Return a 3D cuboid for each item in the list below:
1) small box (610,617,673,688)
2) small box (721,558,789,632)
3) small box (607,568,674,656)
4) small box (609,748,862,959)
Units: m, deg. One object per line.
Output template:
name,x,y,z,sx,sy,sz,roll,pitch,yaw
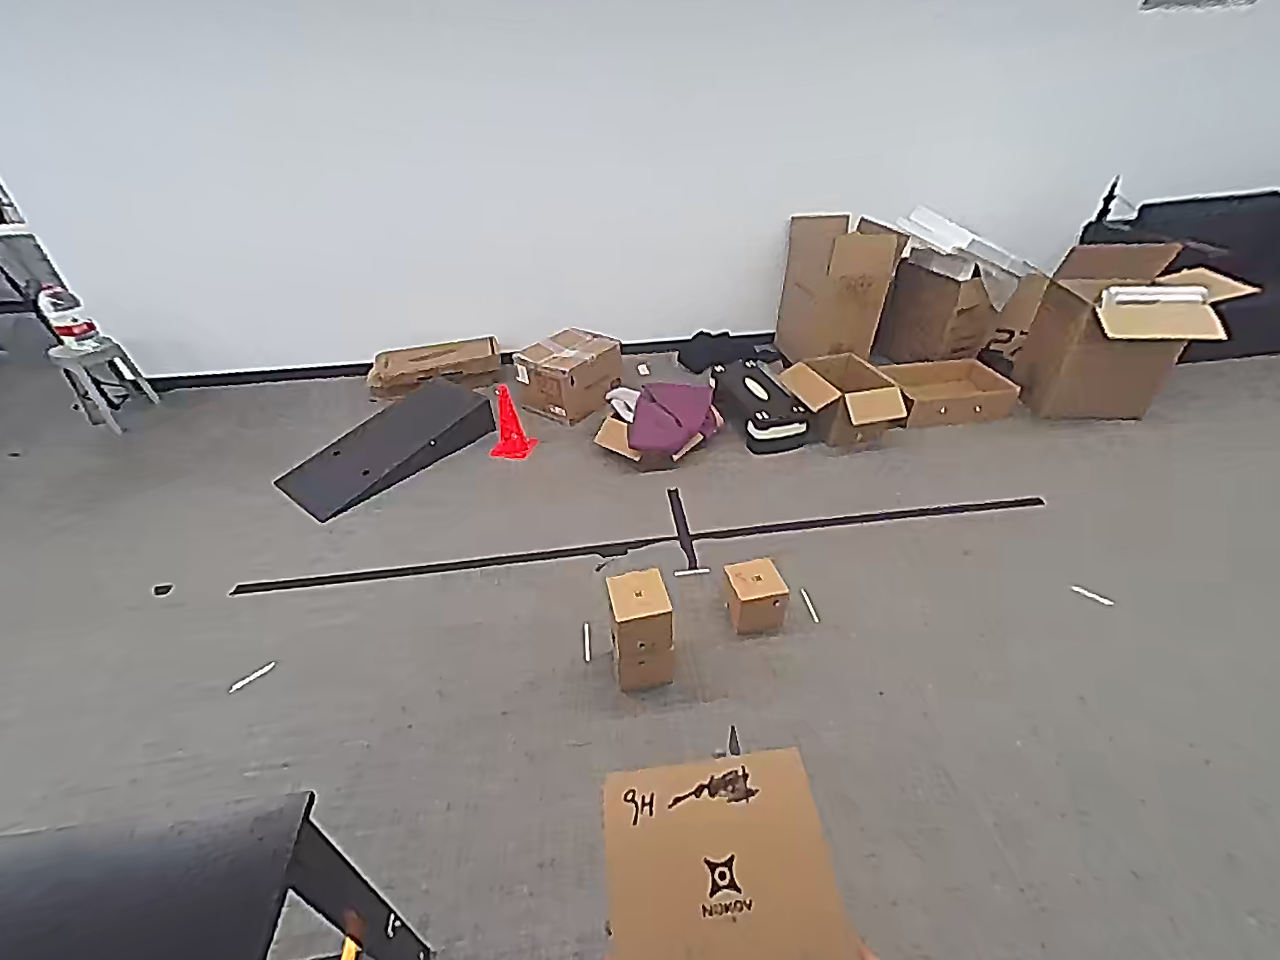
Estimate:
small box,0.006,0.534,1.710,0.179,0.176,0.168,-7,37,-7
small box,0.393,0.400,1.876,0.179,0.176,0.168,-9,37,-10
small box,-0.001,0.397,1.623,0.168,0.176,0.179,-11,38,-9
small box,0.070,0.347,0.447,0.168,0.176,0.179,-7,48,-1
